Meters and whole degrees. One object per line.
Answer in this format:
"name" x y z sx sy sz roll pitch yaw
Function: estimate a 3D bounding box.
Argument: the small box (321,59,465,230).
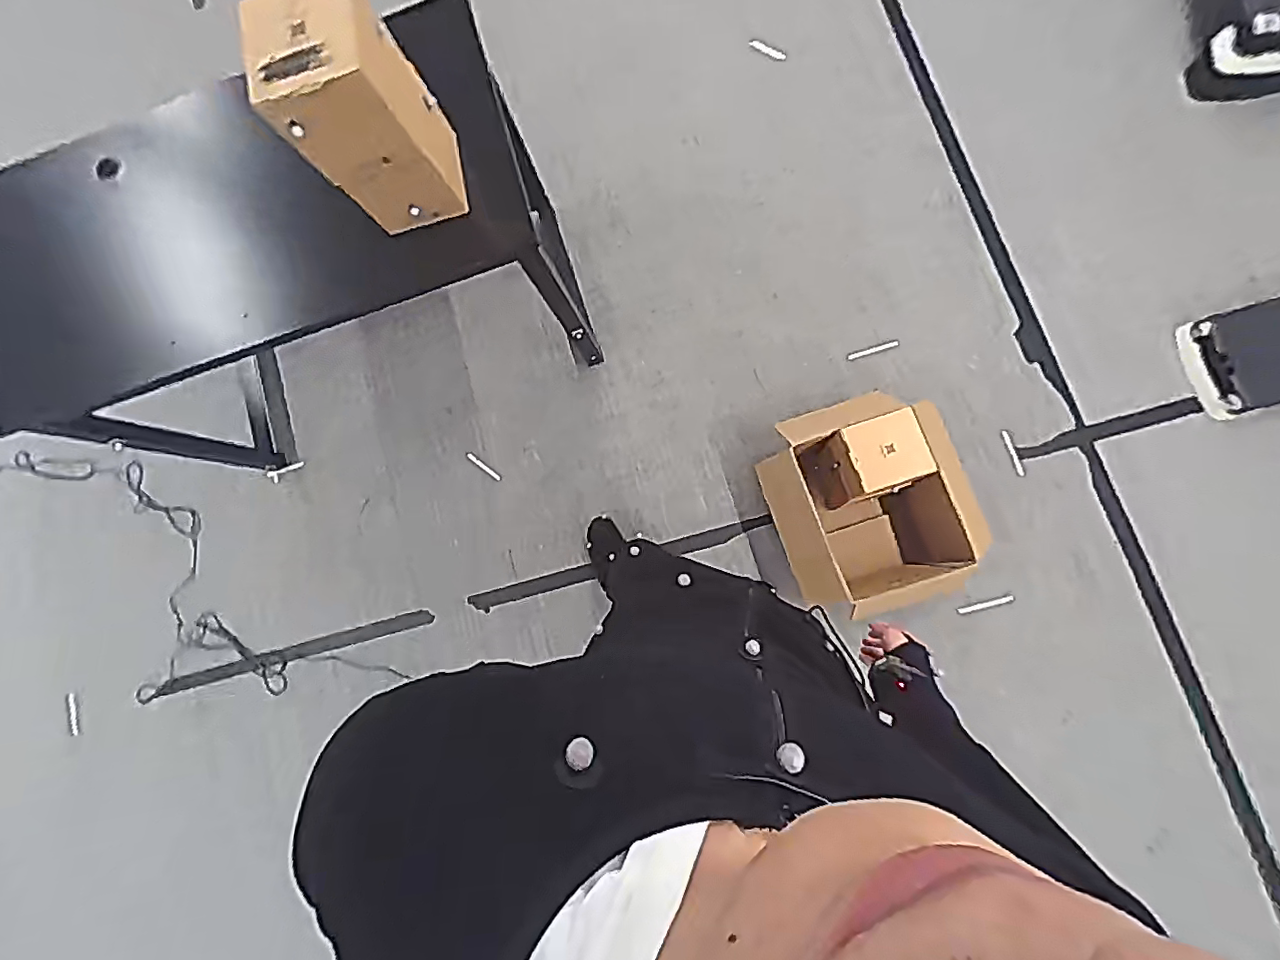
"small box" -0.435 -0.591 0.971 0.168 0.176 0.179 -12 82 6
